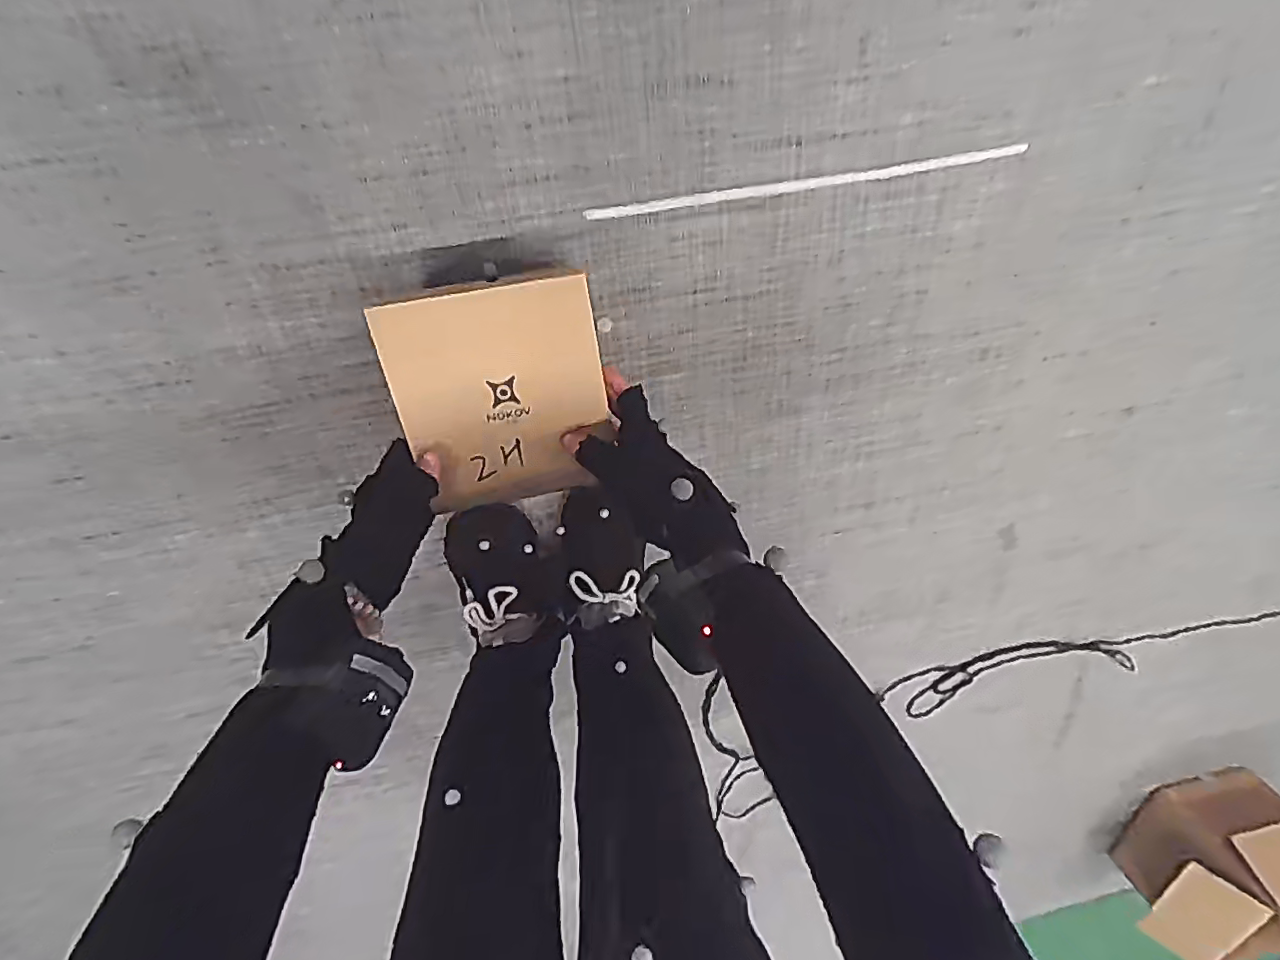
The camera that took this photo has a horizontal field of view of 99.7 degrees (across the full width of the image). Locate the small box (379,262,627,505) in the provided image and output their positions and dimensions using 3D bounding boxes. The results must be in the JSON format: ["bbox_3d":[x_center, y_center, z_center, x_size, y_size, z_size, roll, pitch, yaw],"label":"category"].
[{"bbox_3d":[-0.117,-0.102,0.509,0.168,0.176,0.179,-12,115,-5],"label":"small box"}]
